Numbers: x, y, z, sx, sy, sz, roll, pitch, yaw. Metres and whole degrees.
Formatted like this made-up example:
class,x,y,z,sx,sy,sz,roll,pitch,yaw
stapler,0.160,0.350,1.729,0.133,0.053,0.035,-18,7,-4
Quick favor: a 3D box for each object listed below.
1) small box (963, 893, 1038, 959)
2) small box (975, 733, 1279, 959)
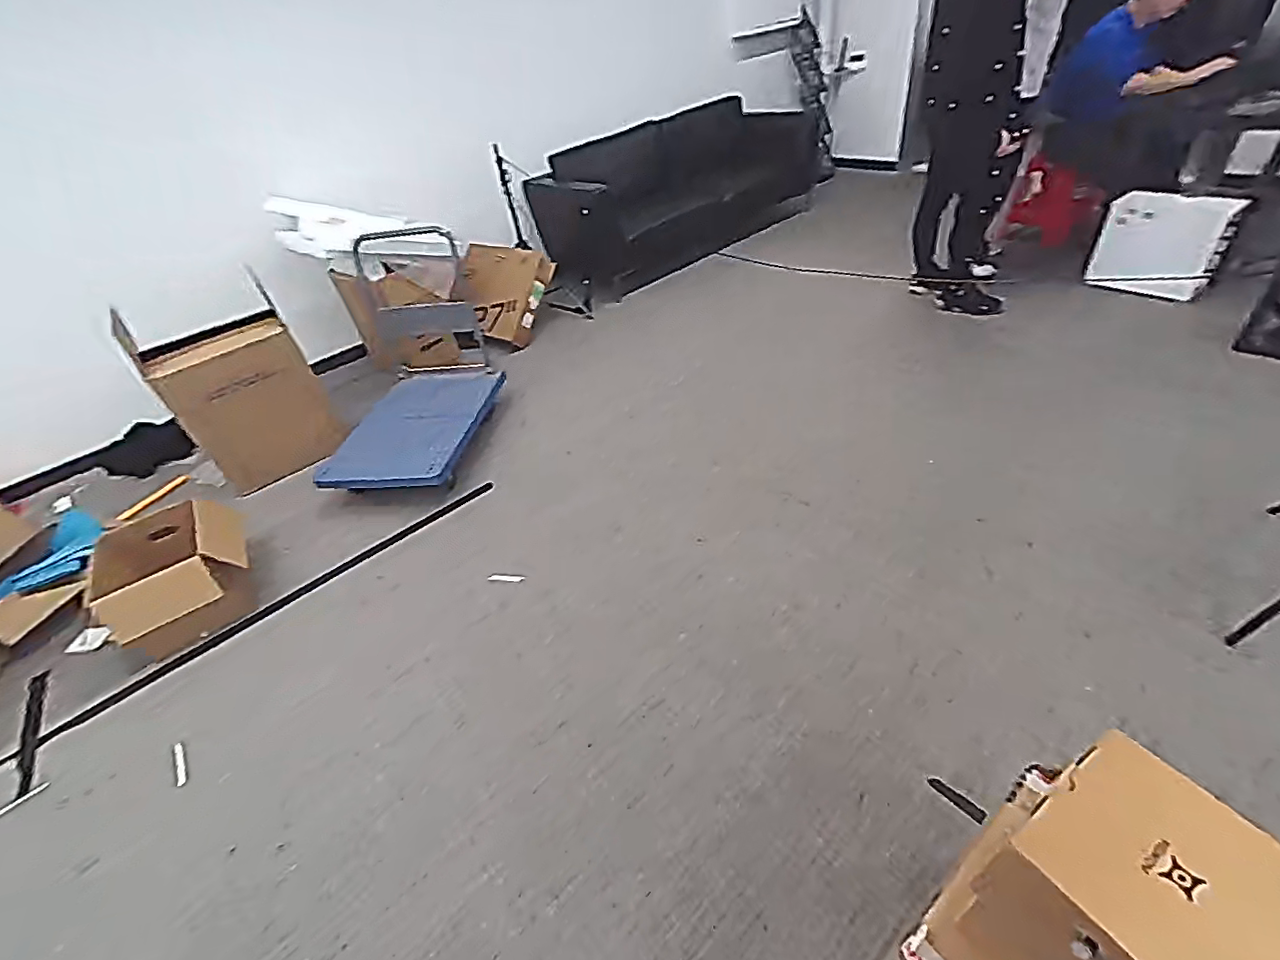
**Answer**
class,x,y,z,sx,sy,sz,roll,pitch,yaw
small box,0.495,0.495,0.598,0.168,0.176,0.179,-33,44,-21
small box,0.449,0.381,0.491,0.168,0.176,0.179,-30,42,-17
